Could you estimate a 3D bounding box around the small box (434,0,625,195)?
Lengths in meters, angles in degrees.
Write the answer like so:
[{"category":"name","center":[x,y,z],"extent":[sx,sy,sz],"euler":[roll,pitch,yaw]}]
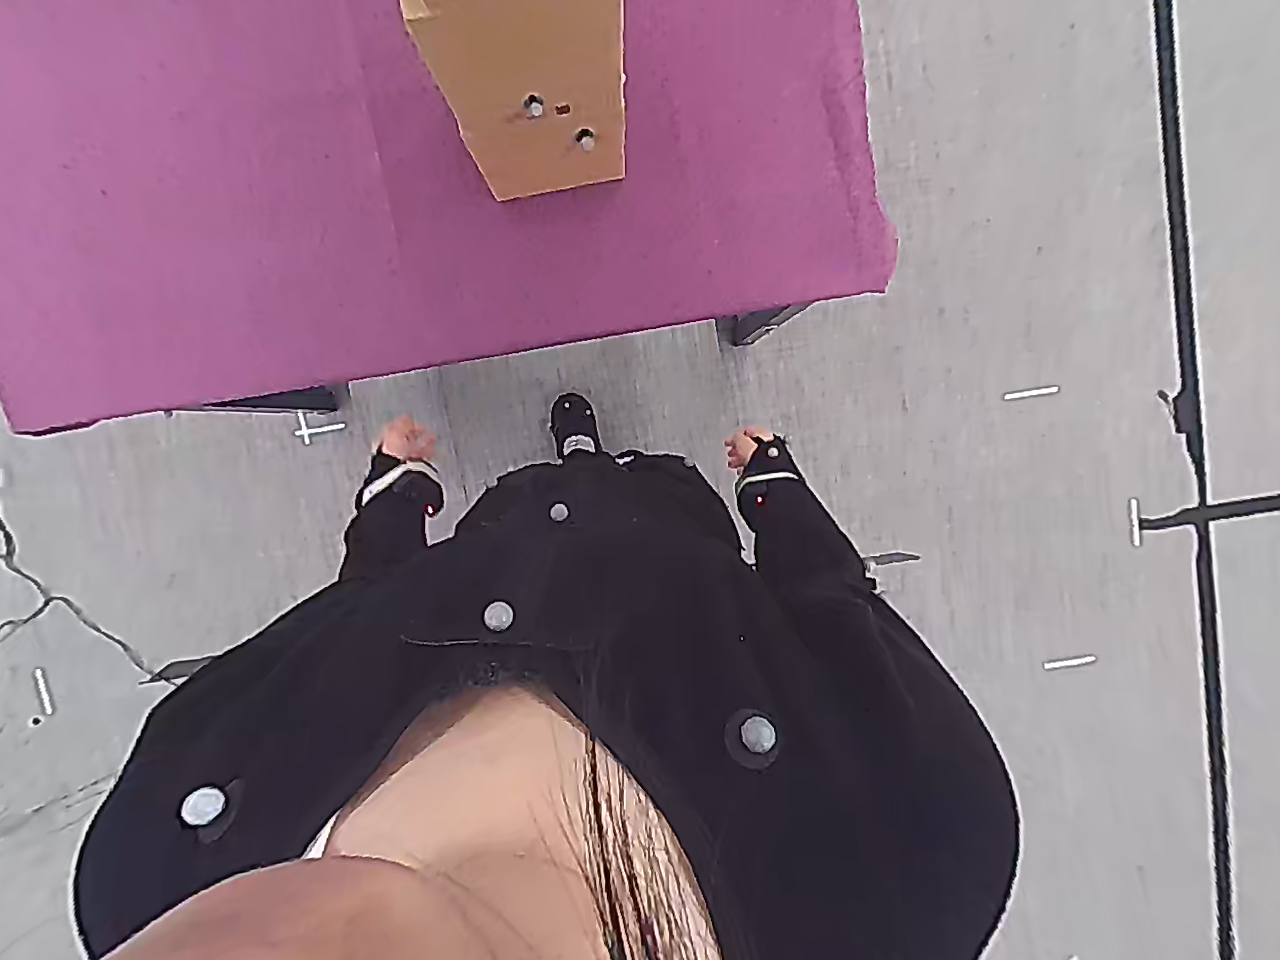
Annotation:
[{"category":"small box","center":[-0.116,-0.461,0.630],"extent":[0.179,0.176,0.168],"euler":[-11,95,0]}]
